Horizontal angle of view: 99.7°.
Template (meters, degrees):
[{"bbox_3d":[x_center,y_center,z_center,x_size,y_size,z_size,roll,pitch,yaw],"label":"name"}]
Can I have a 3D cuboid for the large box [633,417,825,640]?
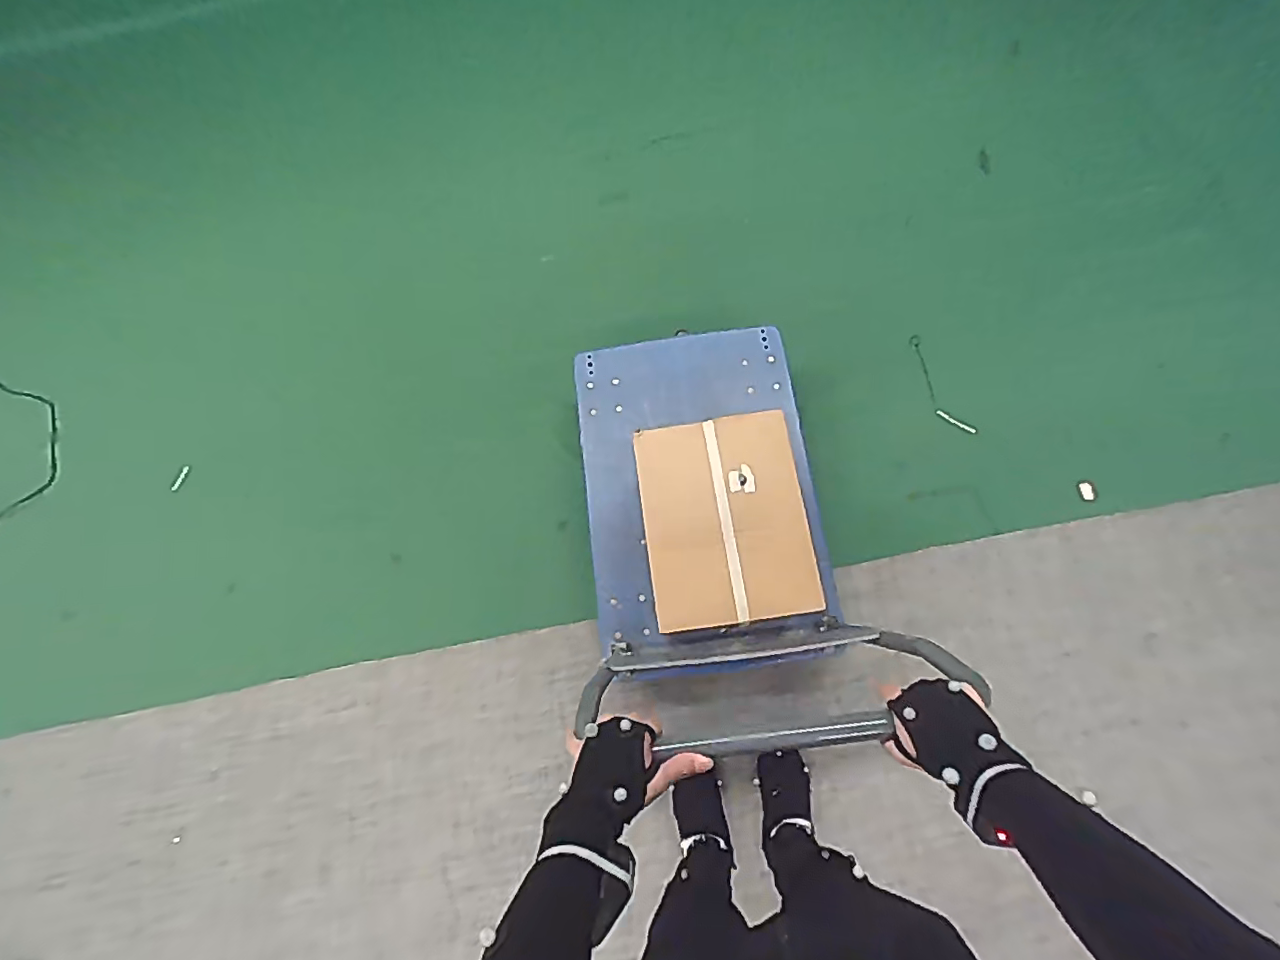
[{"bbox_3d":[0.176,0.124,1.194,0.320,0.320,0.408,-8,73,1],"label":"large box"}]
